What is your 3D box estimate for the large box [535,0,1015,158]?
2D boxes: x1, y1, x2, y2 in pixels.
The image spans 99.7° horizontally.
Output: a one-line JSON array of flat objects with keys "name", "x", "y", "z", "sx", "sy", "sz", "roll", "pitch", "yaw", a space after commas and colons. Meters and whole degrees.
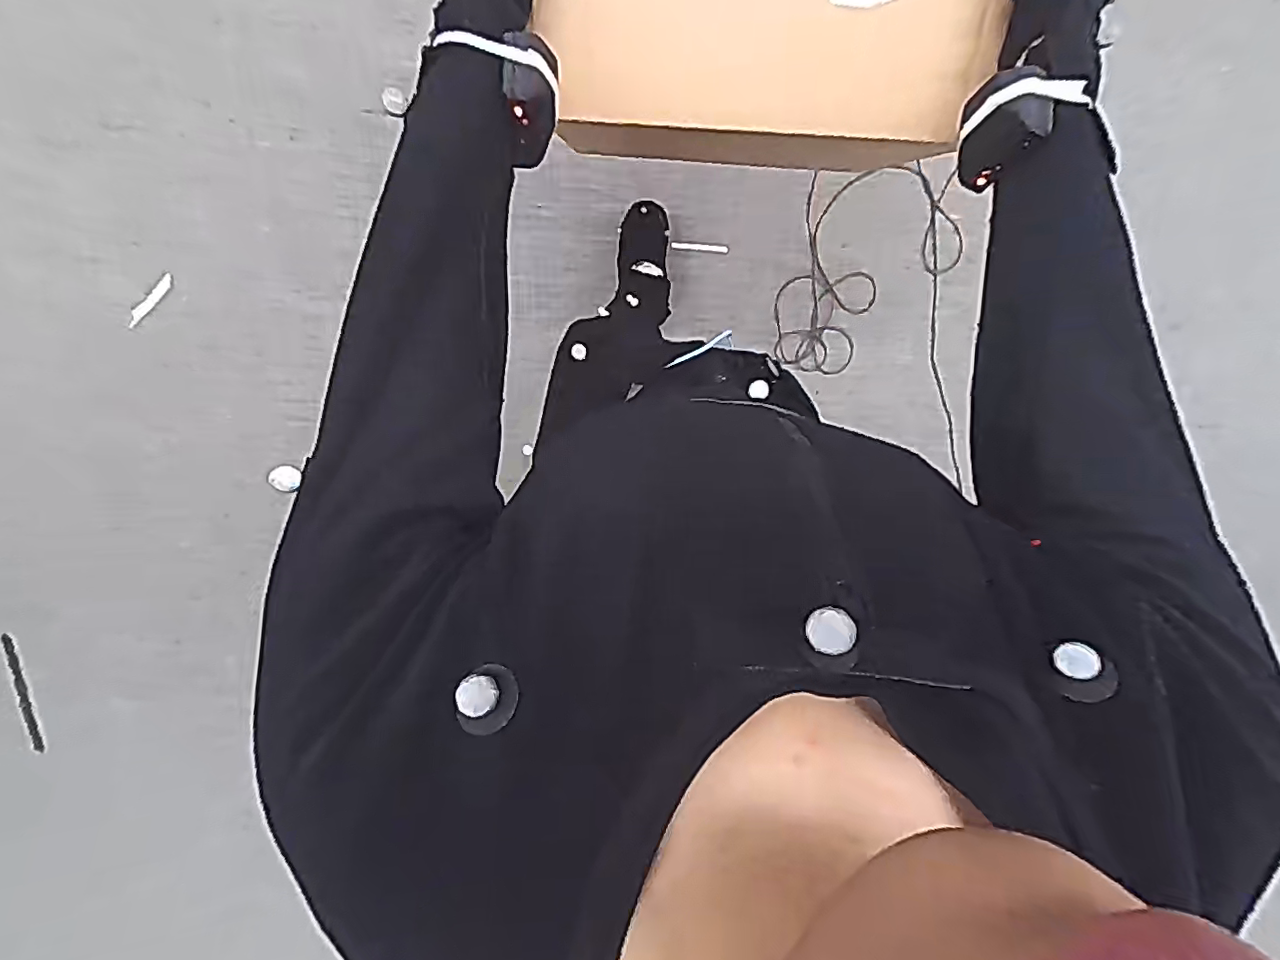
[{"name": "large box", "x": 0.113, "y": -0.526, "z": 0.547, "sx": 0.408, "sy": 0.320, "sz": 0.320, "roll": 3, "pitch": 117, "yaw": -1}]
